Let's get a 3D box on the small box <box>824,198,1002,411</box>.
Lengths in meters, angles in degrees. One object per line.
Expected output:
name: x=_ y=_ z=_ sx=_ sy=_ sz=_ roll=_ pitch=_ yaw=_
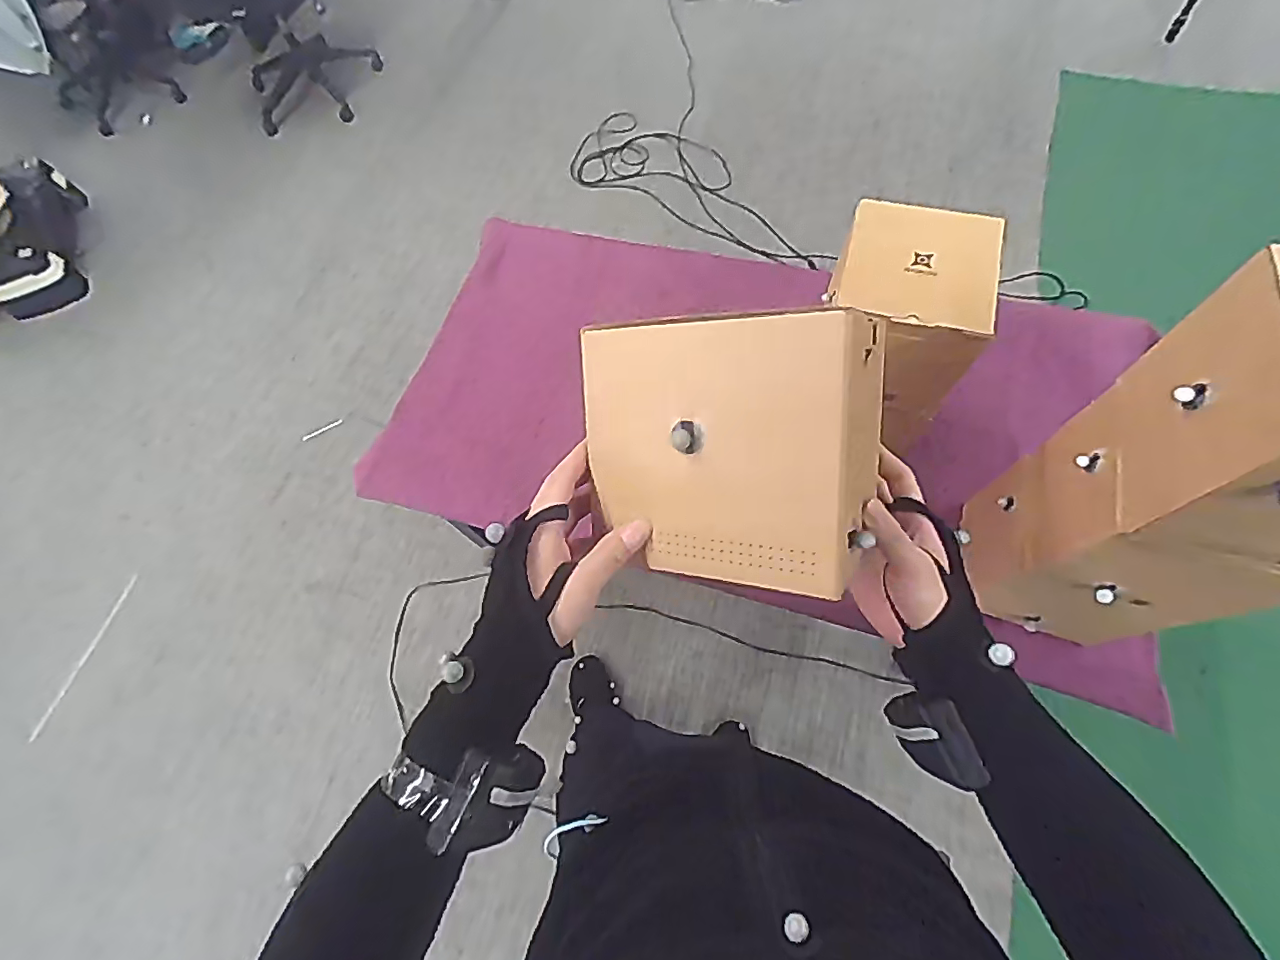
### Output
small box: x=0.325 y=-0.216 z=0.688 sx=0.168 sy=0.176 sz=0.179 roll=15 pitch=70 yaw=11

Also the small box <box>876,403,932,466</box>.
small box: x=0.344 y=-0.149 z=0.836 sx=0.168 sy=0.176 sz=0.179 roll=18 pitch=70 yaw=12

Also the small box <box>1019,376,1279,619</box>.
small box: x=0.532 y=0.025 z=0.565 sx=0.168 sy=0.176 sz=0.179 roll=17 pitch=69 yaw=14

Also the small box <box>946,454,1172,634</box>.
small box: x=0.542 y=0.093 z=0.713 sx=0.179 sy=0.176 sz=0.168 roll=18 pitch=68 yaw=12

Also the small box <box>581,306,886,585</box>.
small box: x=0.077 y=-0.033 z=0.410 sx=0.179 sy=0.168 sz=0.176 roll=4 pitch=104 yaw=31
